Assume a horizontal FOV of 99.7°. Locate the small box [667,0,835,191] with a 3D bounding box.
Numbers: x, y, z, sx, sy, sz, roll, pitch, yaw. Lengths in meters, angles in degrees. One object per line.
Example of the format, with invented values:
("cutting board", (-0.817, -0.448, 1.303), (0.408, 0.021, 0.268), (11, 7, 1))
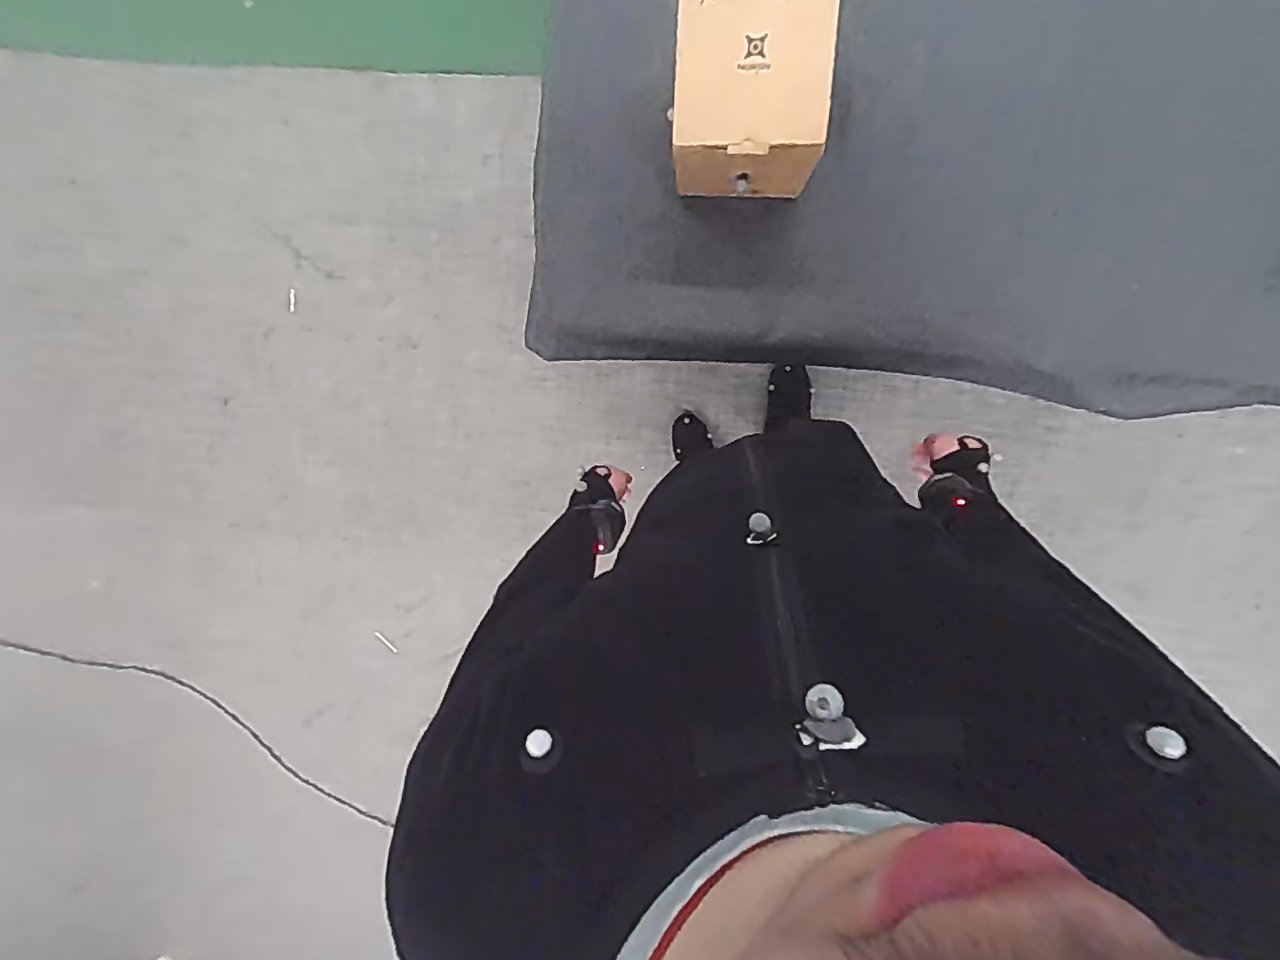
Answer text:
("small box", (0.124, -0.460, 0.642), (0.168, 0.176, 0.179), (4, 102, 6))
